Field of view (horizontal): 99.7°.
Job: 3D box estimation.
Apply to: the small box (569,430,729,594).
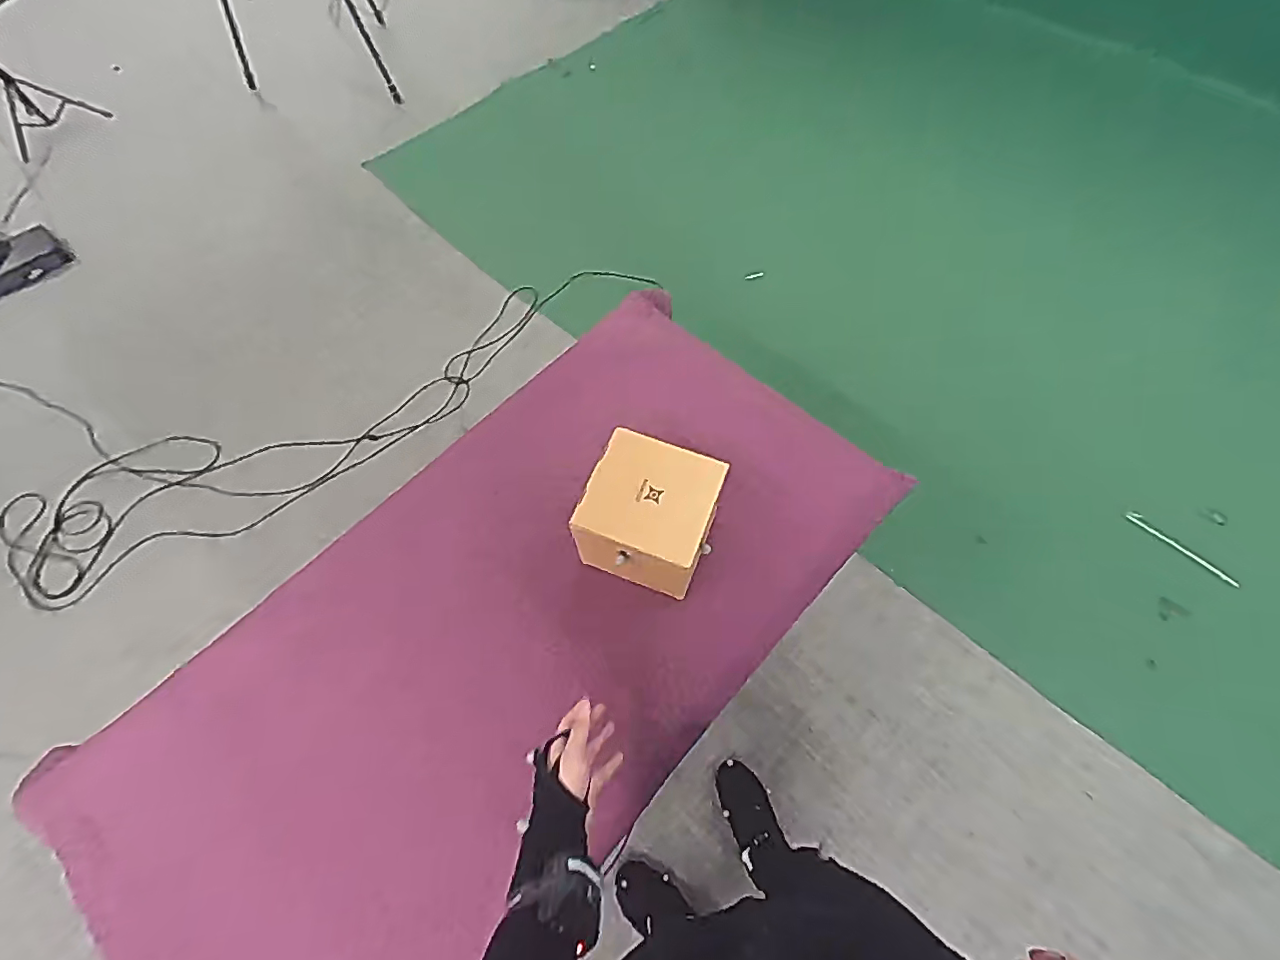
[{"bbox_3d":[0.018,0.057,0.807,0.179,0.176,0.168,19,66,12],"label":"small box"}]
